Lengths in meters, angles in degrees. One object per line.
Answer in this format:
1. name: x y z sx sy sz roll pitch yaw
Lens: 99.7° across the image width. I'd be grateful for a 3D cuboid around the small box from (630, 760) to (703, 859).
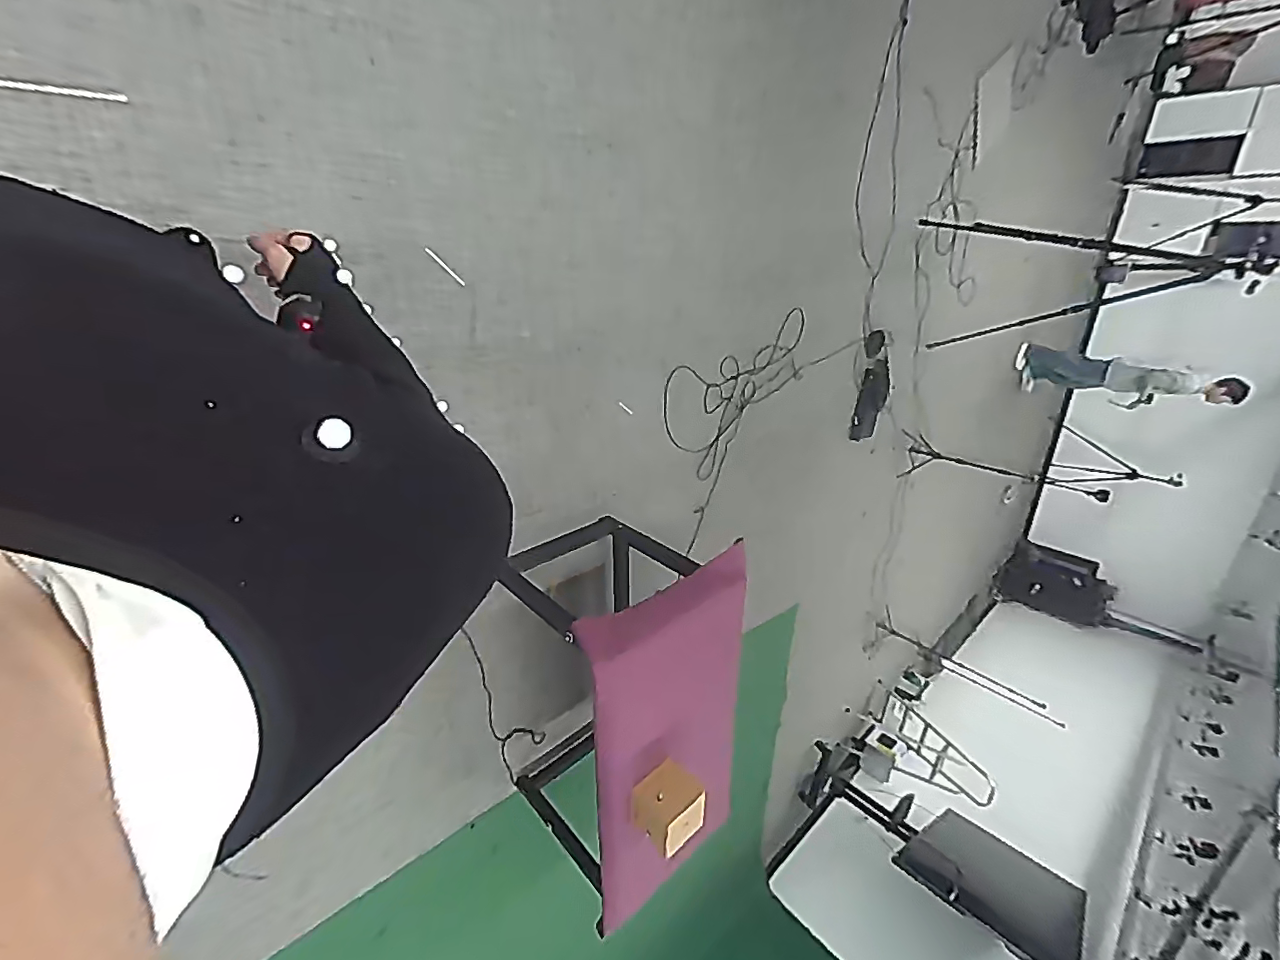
1. small box: 0.082 1.064 1.762 0.179 0.176 0.168 -18 120 -40
